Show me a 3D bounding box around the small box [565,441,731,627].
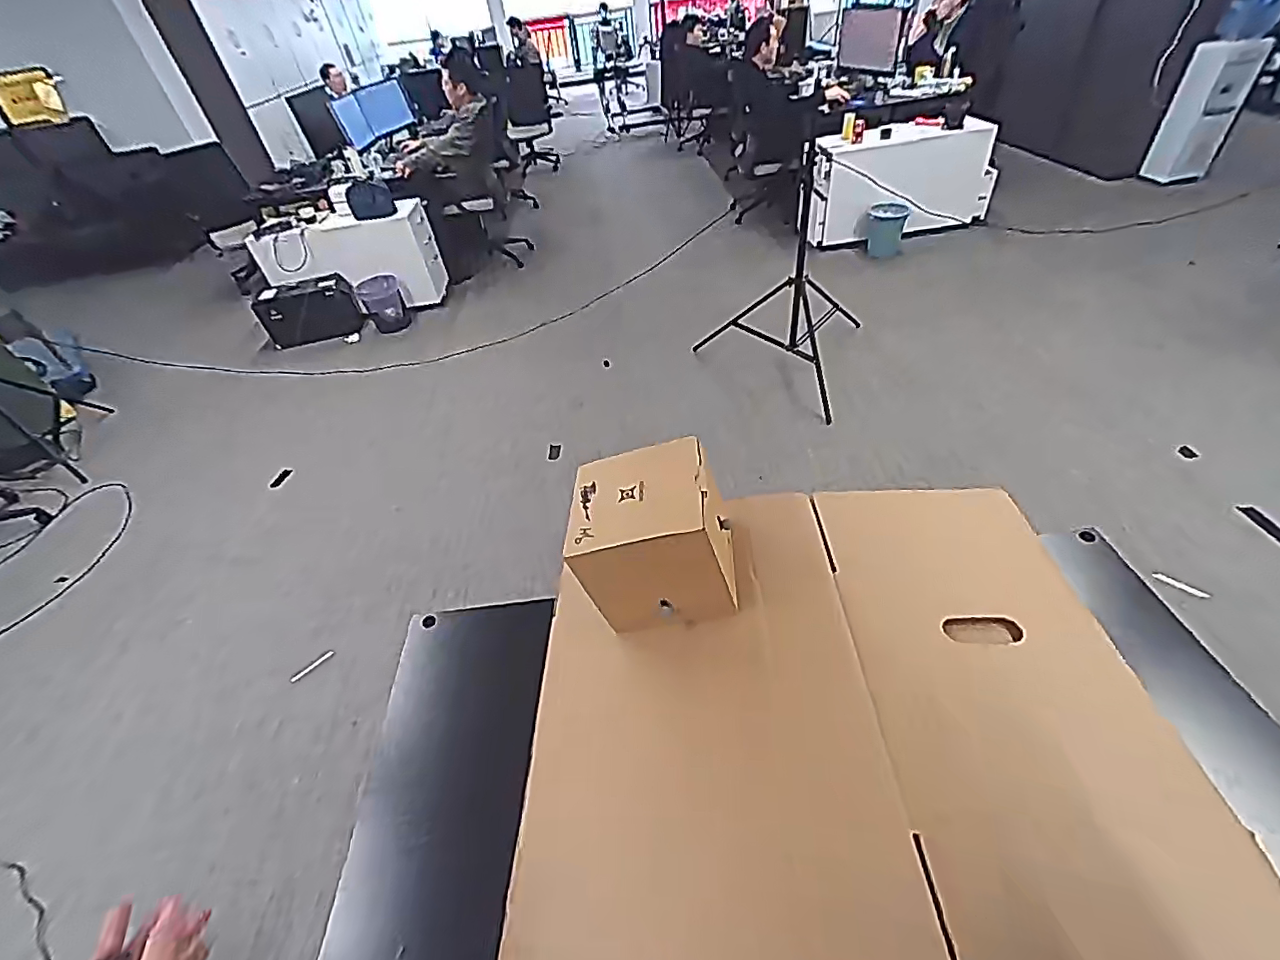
[{"bbox_3d":[0.021,0.077,0.727,0.179,0.176,0.168,-13,41,14],"label":"small box"}]
